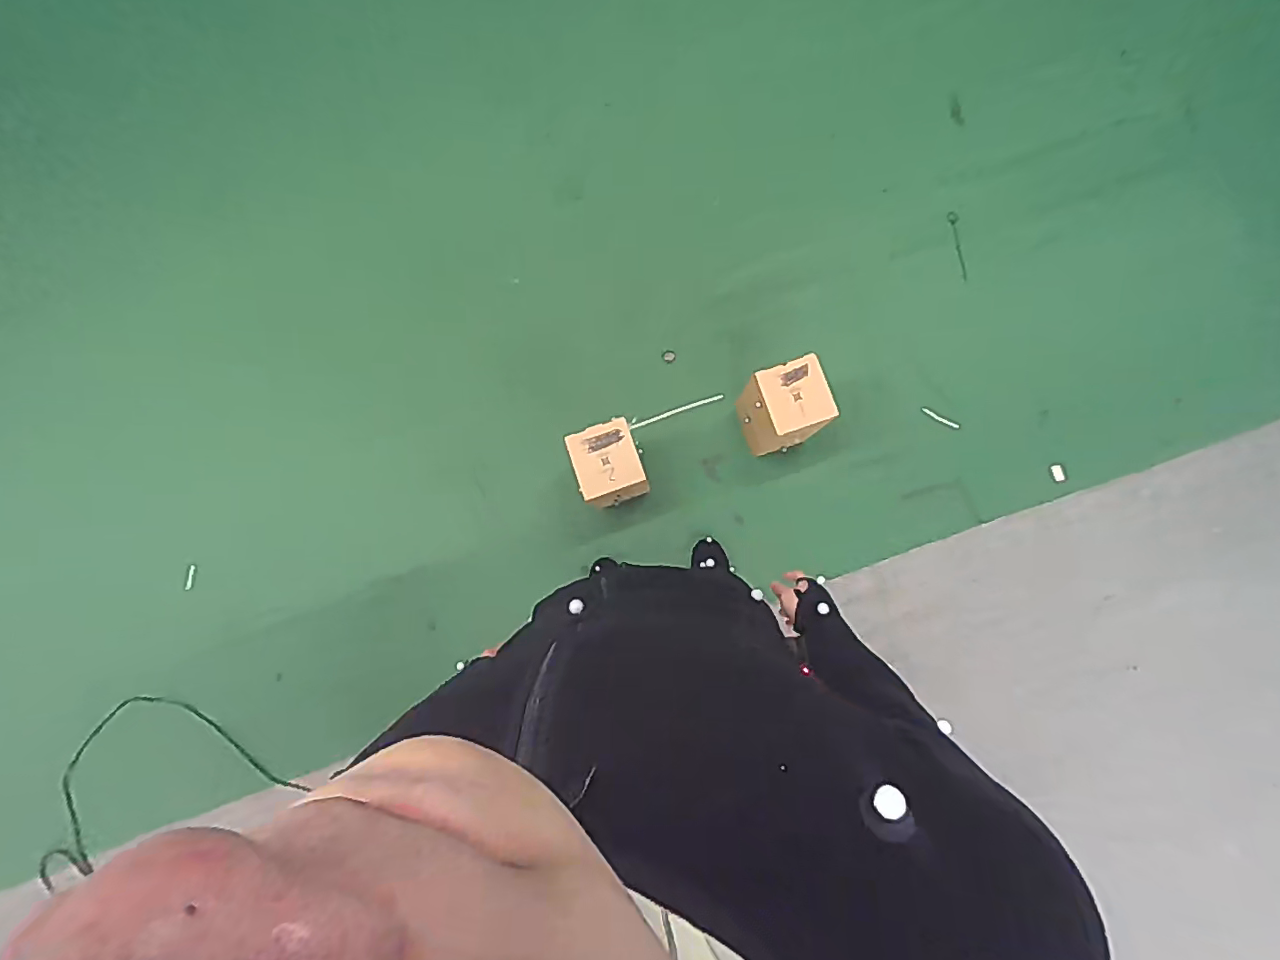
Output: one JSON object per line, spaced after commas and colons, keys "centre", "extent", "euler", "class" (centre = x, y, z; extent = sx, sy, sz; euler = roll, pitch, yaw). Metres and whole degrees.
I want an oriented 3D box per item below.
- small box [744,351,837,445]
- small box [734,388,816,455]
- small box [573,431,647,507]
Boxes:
{"centre": [0.389, -0.211, 1.435], "extent": [0.168, 0.176, 0.179], "euler": [-19, 83, -1], "class": "small box"}
{"centre": [0.391, -0.190, 1.598], "extent": [0.168, 0.176, 0.179], "euler": [-19, 83, -1], "class": "small box"}
{"centre": [-0.083, -0.024, 1.594], "extent": [0.168, 0.176, 0.179], "euler": [-20, 82, -1], "class": "small box"}
